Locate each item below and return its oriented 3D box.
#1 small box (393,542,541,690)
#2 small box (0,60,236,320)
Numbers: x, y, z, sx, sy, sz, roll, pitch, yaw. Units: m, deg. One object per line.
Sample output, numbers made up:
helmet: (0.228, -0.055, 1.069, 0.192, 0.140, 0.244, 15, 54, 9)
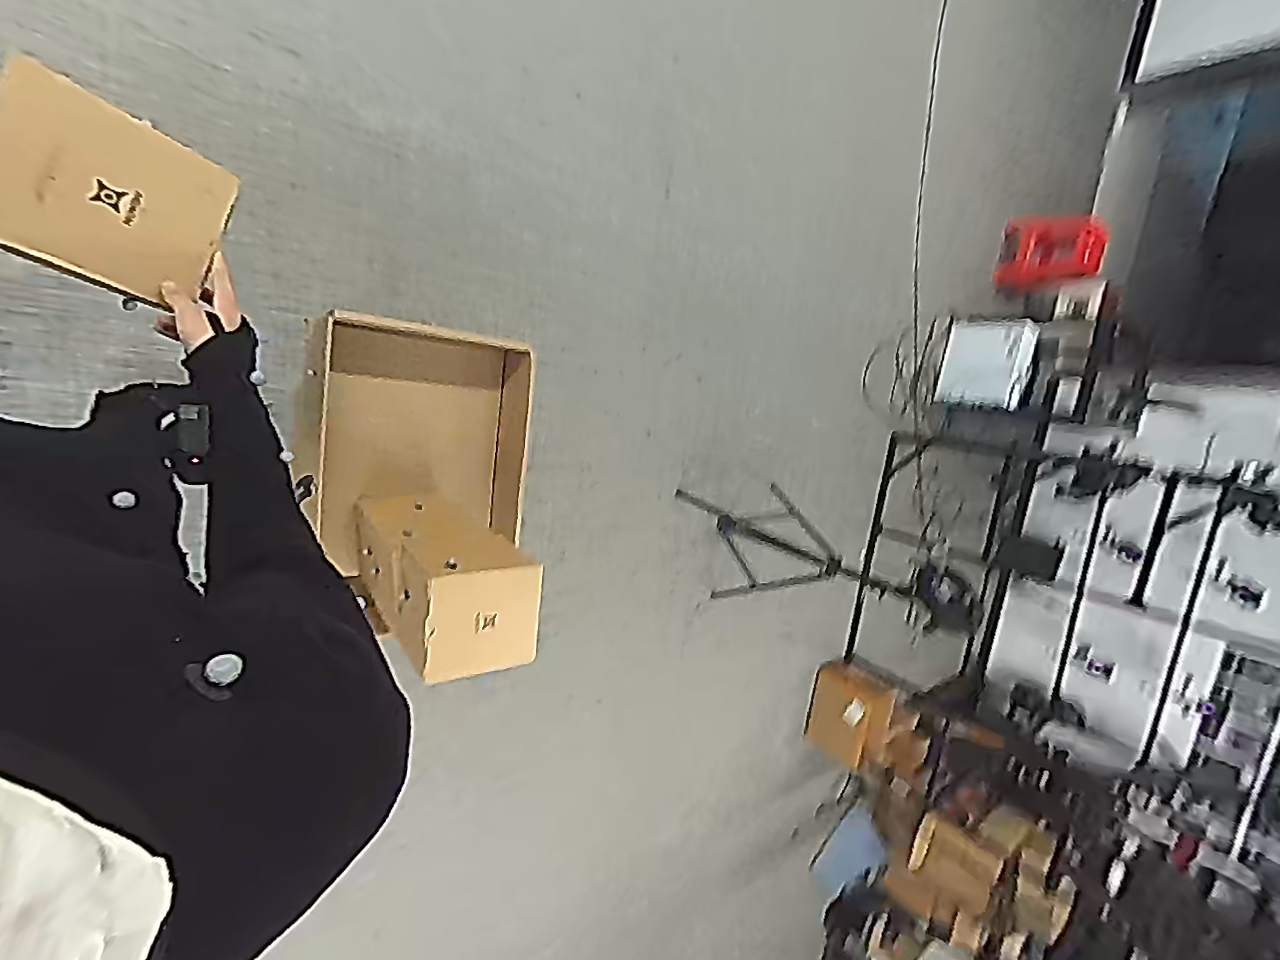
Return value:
small box: (-0.280, 0.204, 0.868, 0.179, 0.176, 0.168, 0, 101, -37)
small box: (-0.582, -0.289, 0.578, 0.179, 0.176, 0.168, 20, 87, -51)
